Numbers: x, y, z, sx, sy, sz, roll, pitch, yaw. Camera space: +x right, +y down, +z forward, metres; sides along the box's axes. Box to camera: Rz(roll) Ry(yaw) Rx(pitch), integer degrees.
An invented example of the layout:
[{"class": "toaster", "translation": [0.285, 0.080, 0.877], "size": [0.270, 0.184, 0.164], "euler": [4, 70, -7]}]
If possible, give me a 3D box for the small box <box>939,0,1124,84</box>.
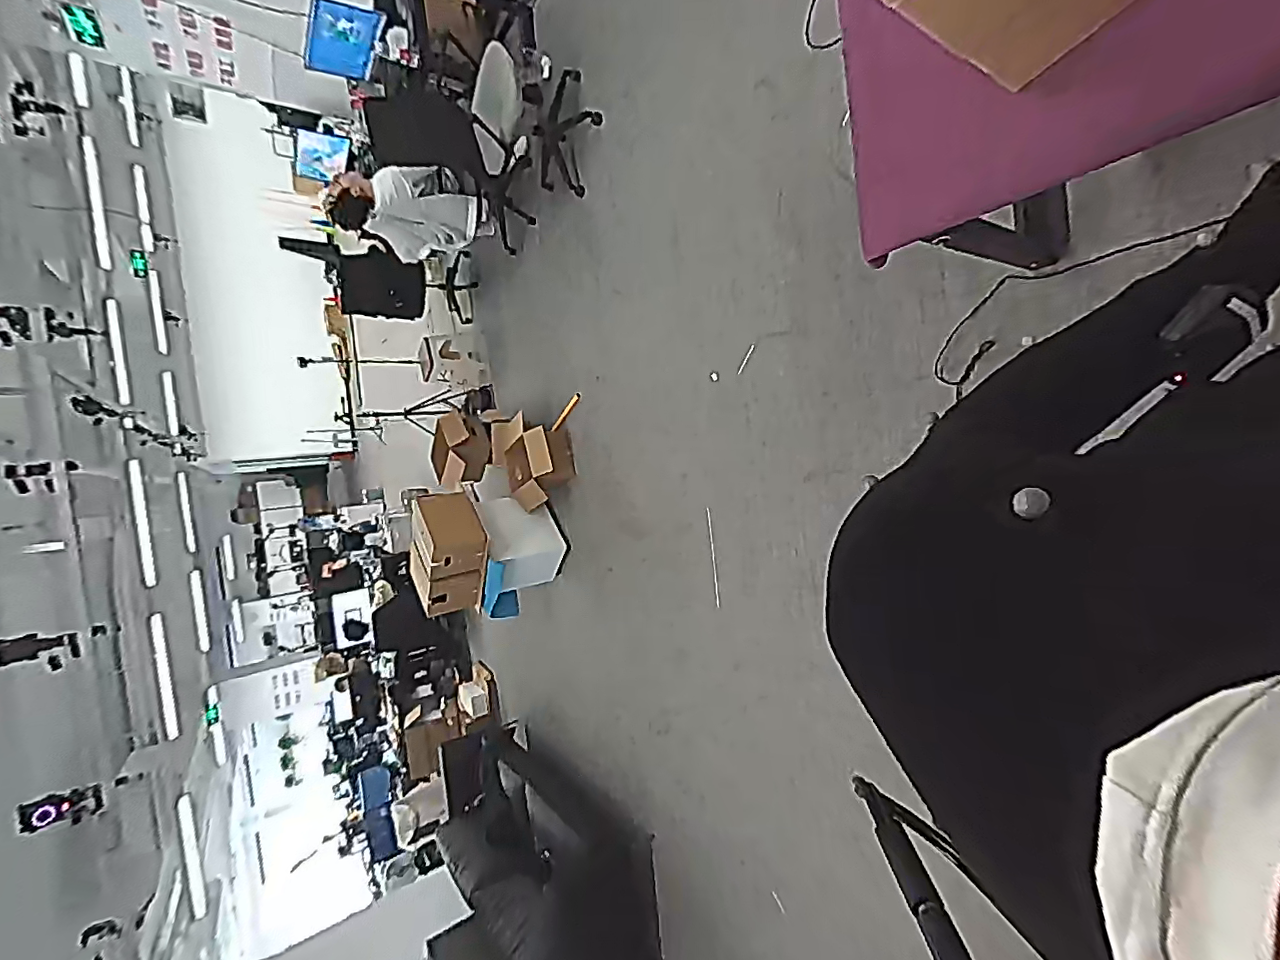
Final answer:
[{"class": "small box", "translation": [0.495, -0.651, 0.673], "size": [0.179, 0.176, 0.168], "euler": [-26, 75, 53]}]
